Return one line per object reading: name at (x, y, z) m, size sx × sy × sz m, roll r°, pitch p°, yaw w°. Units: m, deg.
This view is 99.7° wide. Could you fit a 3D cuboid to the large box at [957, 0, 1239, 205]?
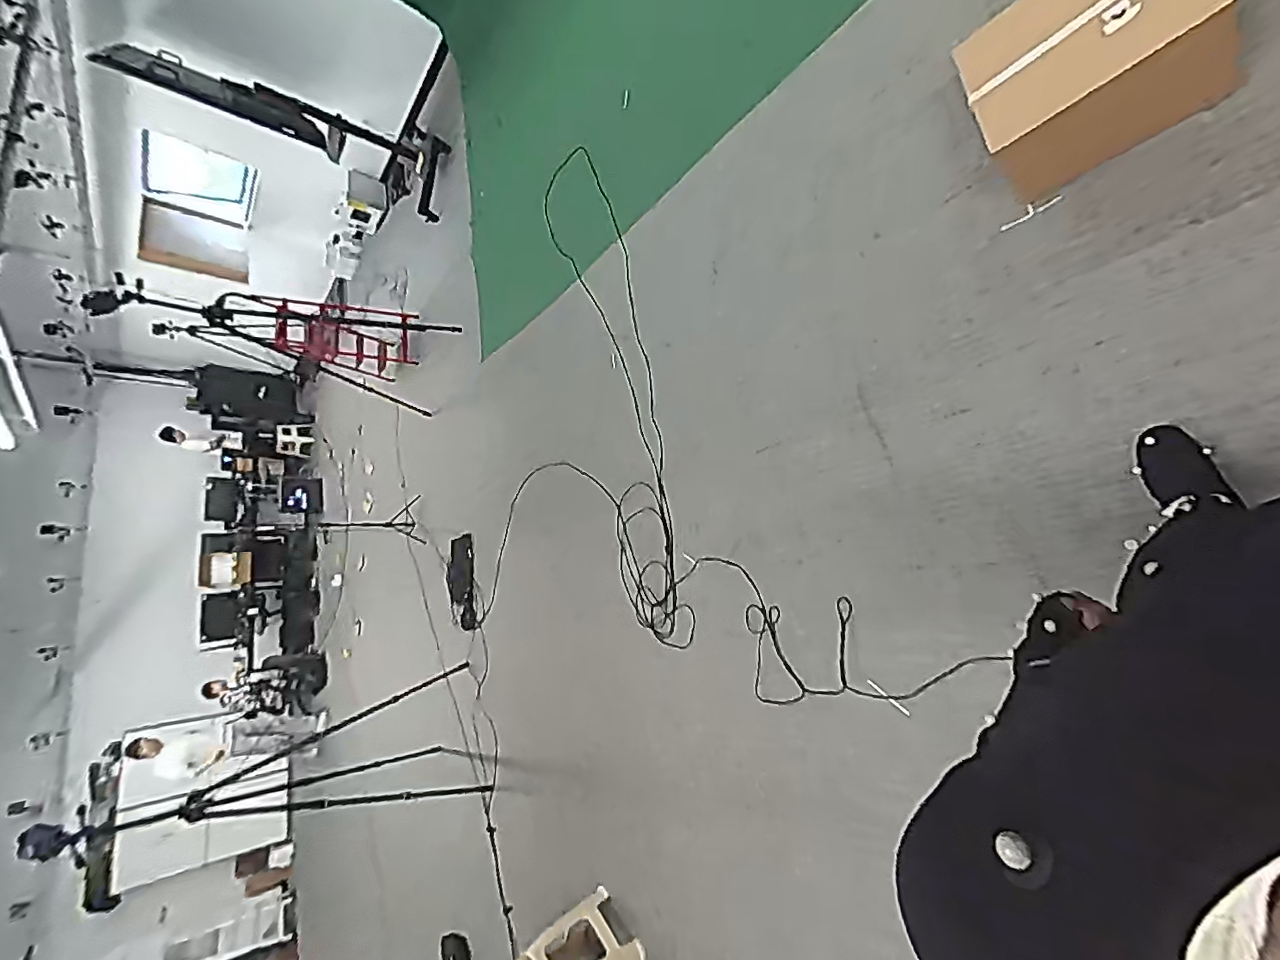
large box at (1.032, -0.939, 1.244) m, size 0.408 × 0.320 × 0.320 m, roll -23°, pitch 70°, yaw 44°
